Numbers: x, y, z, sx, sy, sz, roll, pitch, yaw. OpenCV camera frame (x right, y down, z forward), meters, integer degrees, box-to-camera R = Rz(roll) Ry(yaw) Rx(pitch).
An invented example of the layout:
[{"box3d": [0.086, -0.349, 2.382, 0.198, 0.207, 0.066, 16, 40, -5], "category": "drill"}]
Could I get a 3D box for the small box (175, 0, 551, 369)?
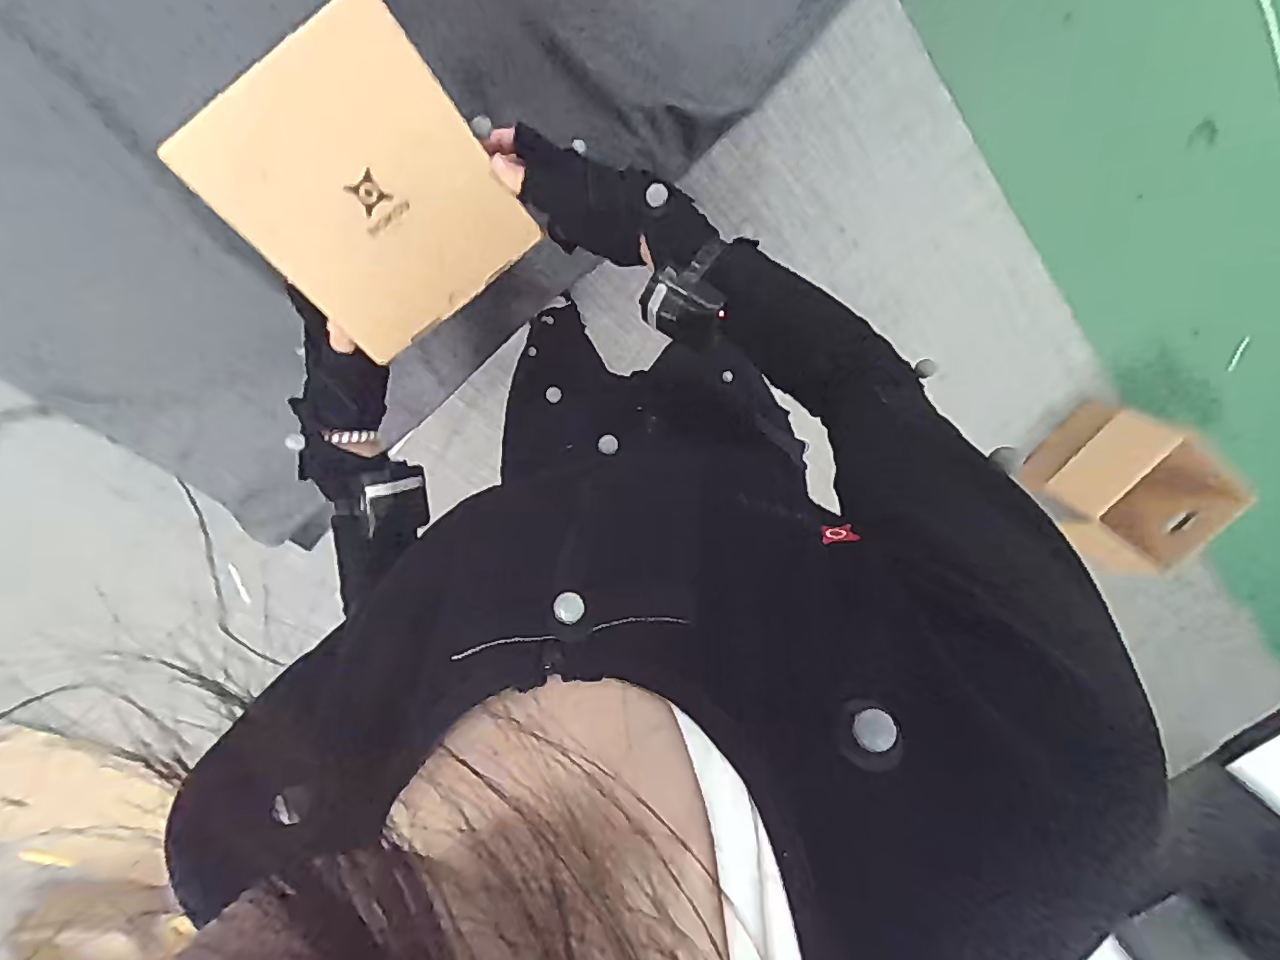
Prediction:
[{"box3d": [-0.202, -0.227, 0.436, 0.168, 0.176, 0.179, -37, 128, 3], "category": "small box"}]
